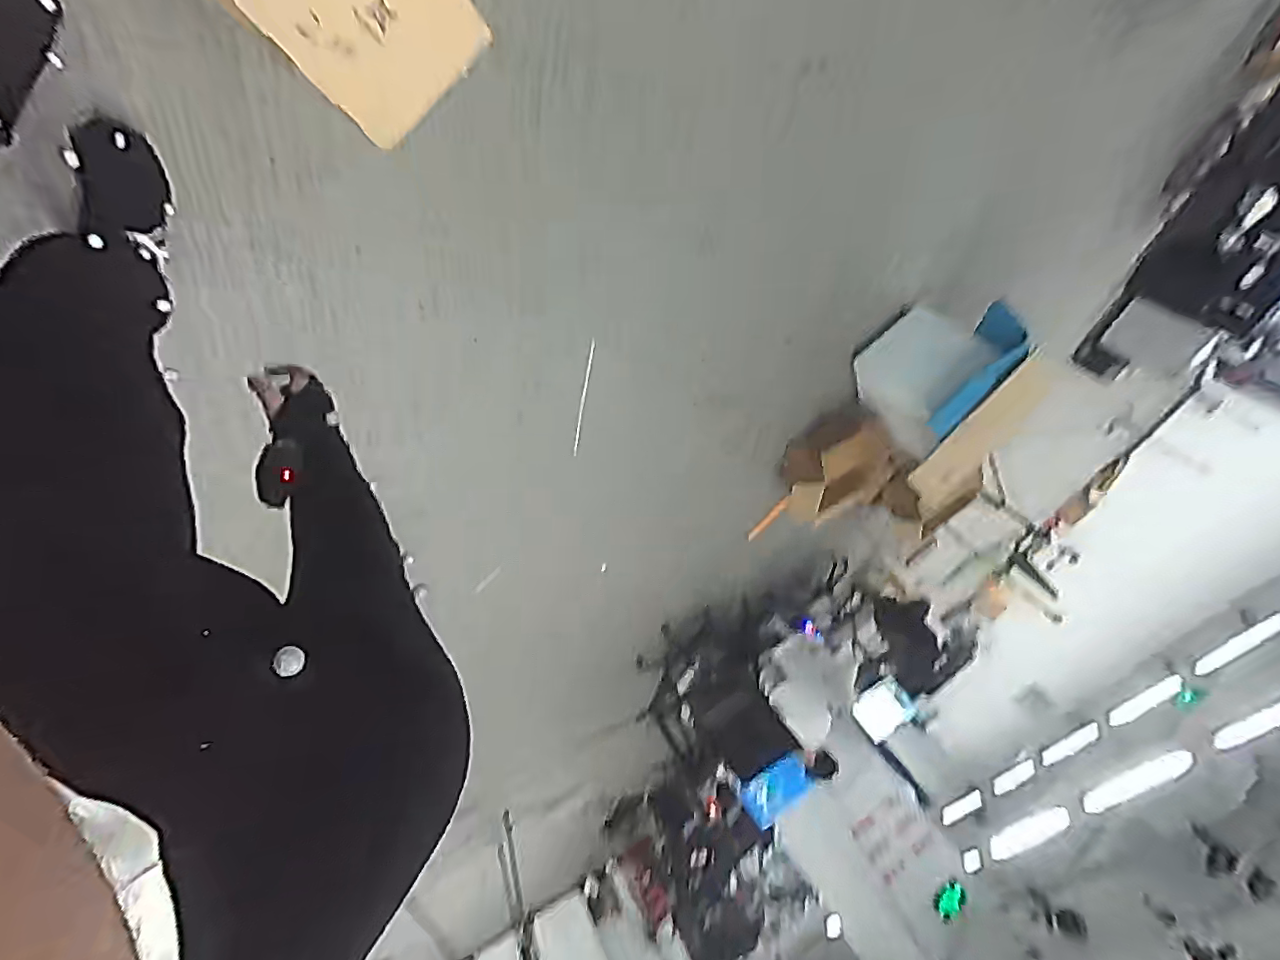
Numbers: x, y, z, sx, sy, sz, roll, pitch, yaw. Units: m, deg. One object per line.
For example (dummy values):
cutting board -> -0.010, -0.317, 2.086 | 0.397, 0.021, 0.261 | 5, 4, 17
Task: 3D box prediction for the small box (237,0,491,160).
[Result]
small box -> -0.300, -0.499, 0.580 | 0.179, 0.176, 0.168 | -42, 145, 7
